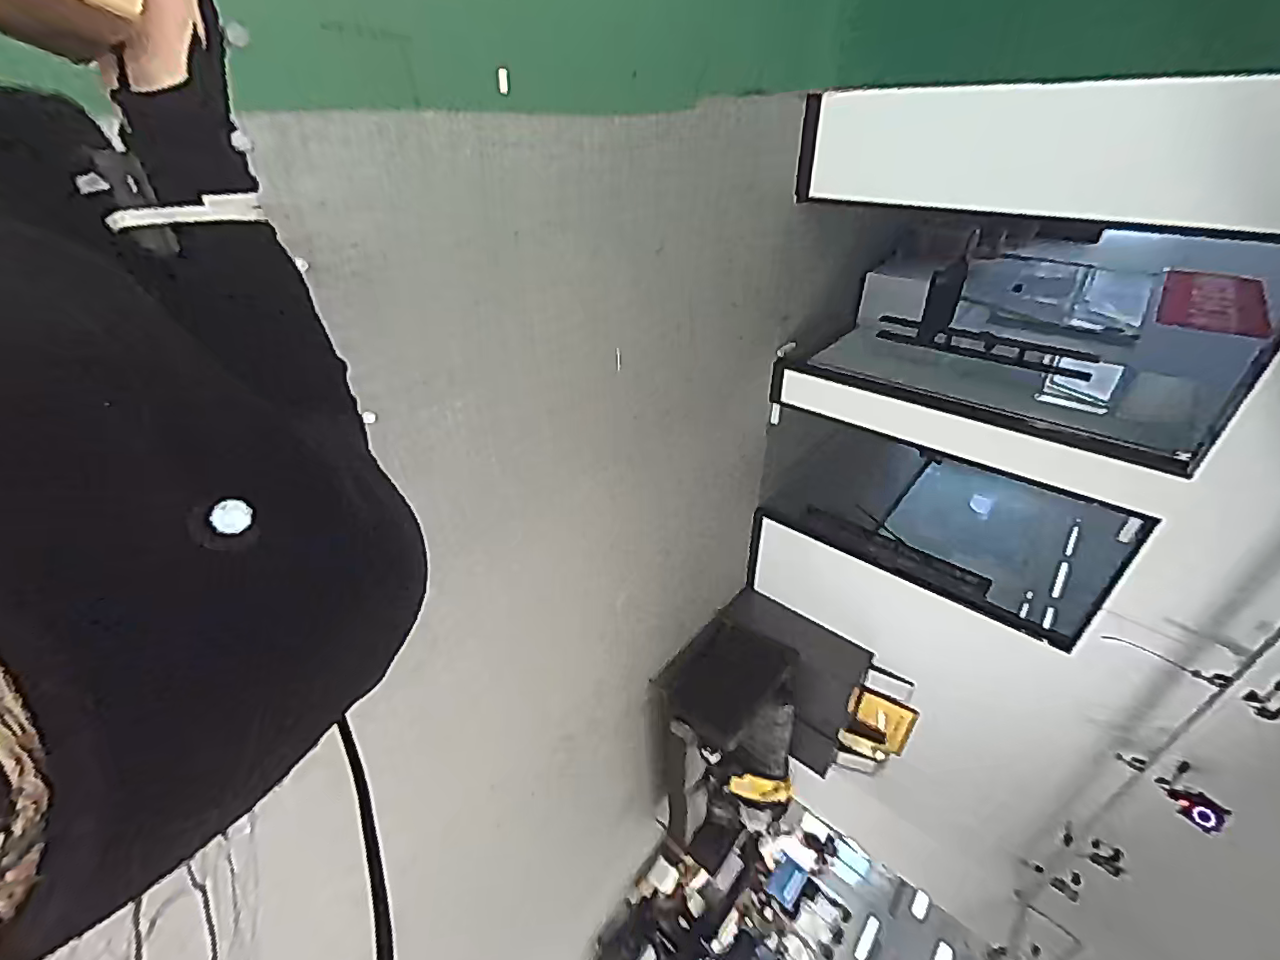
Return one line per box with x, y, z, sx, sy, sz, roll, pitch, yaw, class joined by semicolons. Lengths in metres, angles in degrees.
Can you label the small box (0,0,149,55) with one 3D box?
-0.332;-0.326;0.226;0.168;0.176;0.179;-4;112;-53;small box
